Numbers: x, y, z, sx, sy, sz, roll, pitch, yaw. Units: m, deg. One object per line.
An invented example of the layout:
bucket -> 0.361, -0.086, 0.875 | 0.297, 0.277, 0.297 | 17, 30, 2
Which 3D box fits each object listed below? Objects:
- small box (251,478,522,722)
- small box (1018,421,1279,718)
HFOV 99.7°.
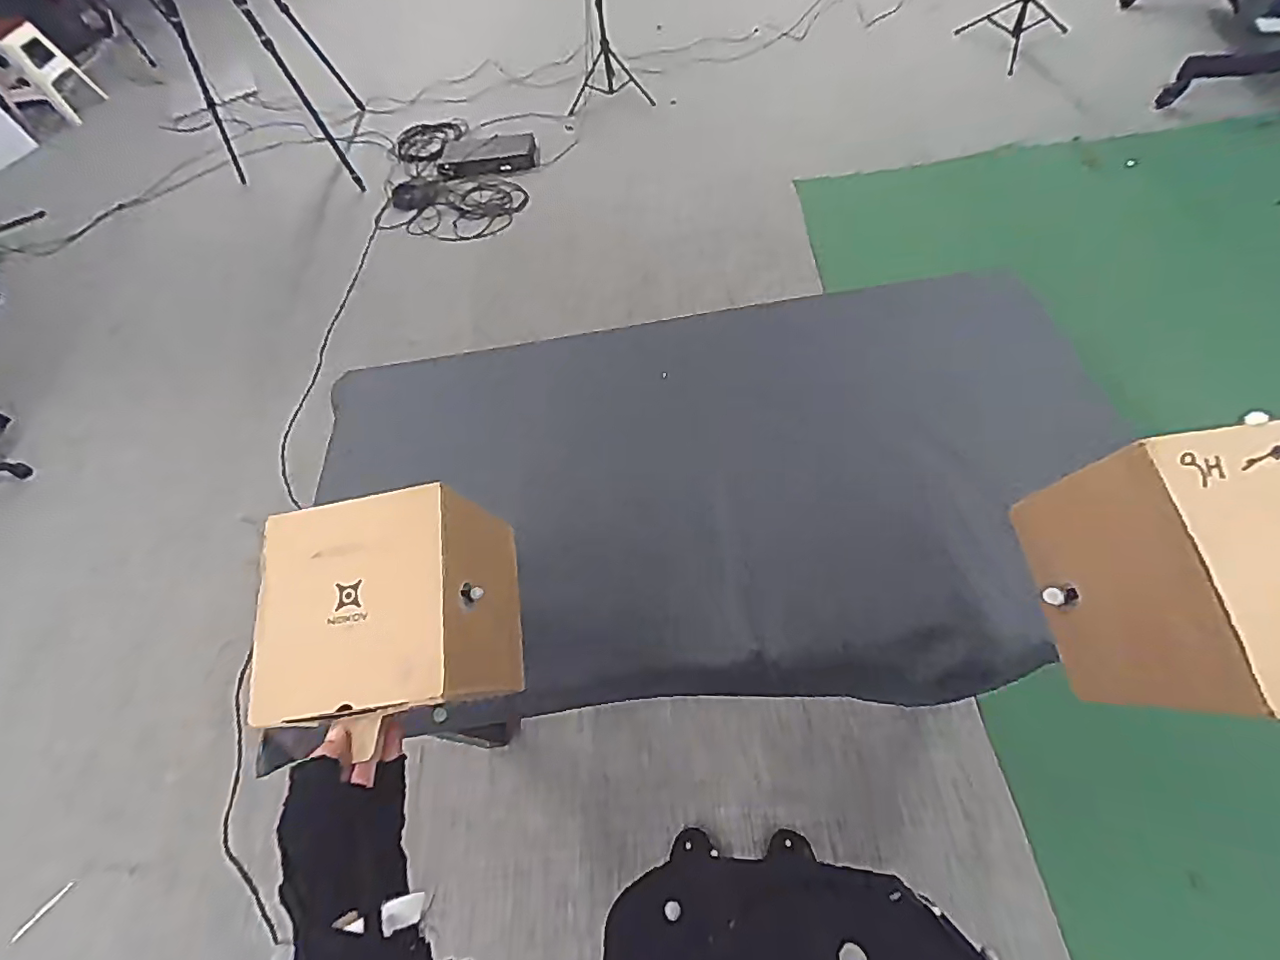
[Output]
small box -> -0.220, 0.117, 0.512 | 0.168, 0.176, 0.179 | -11, 70, 6
small box -> 0.434, 0.067, 0.405 | 0.168, 0.176, 0.179 | -7, 72, 2
